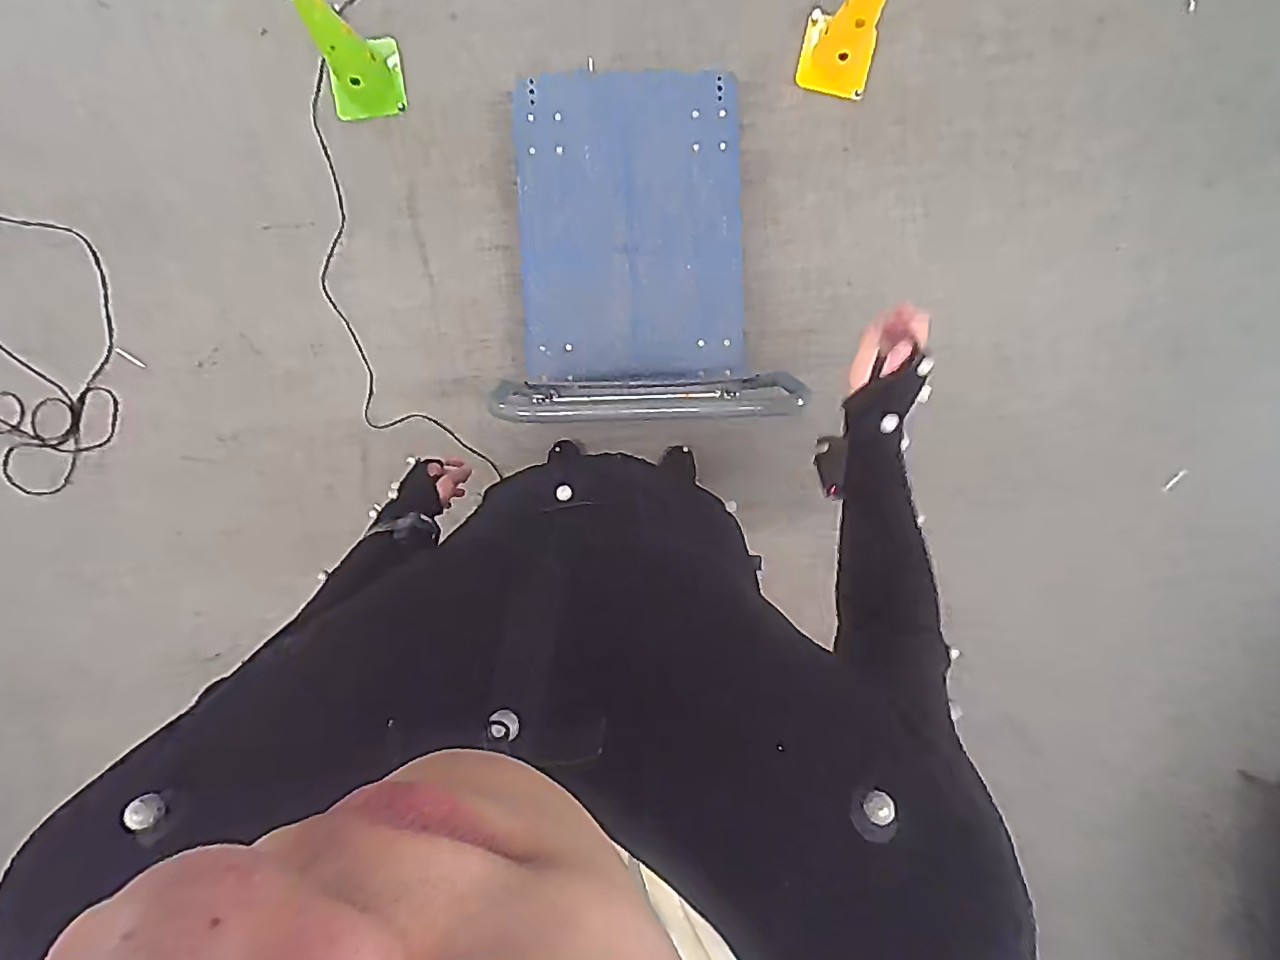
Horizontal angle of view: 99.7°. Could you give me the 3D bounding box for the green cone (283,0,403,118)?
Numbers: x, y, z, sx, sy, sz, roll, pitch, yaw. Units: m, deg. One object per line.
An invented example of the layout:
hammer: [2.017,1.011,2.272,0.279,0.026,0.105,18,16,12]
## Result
green cone: [-0.777,-1.116,1.342,0.202,0.368,0.200,-8,95,2]
